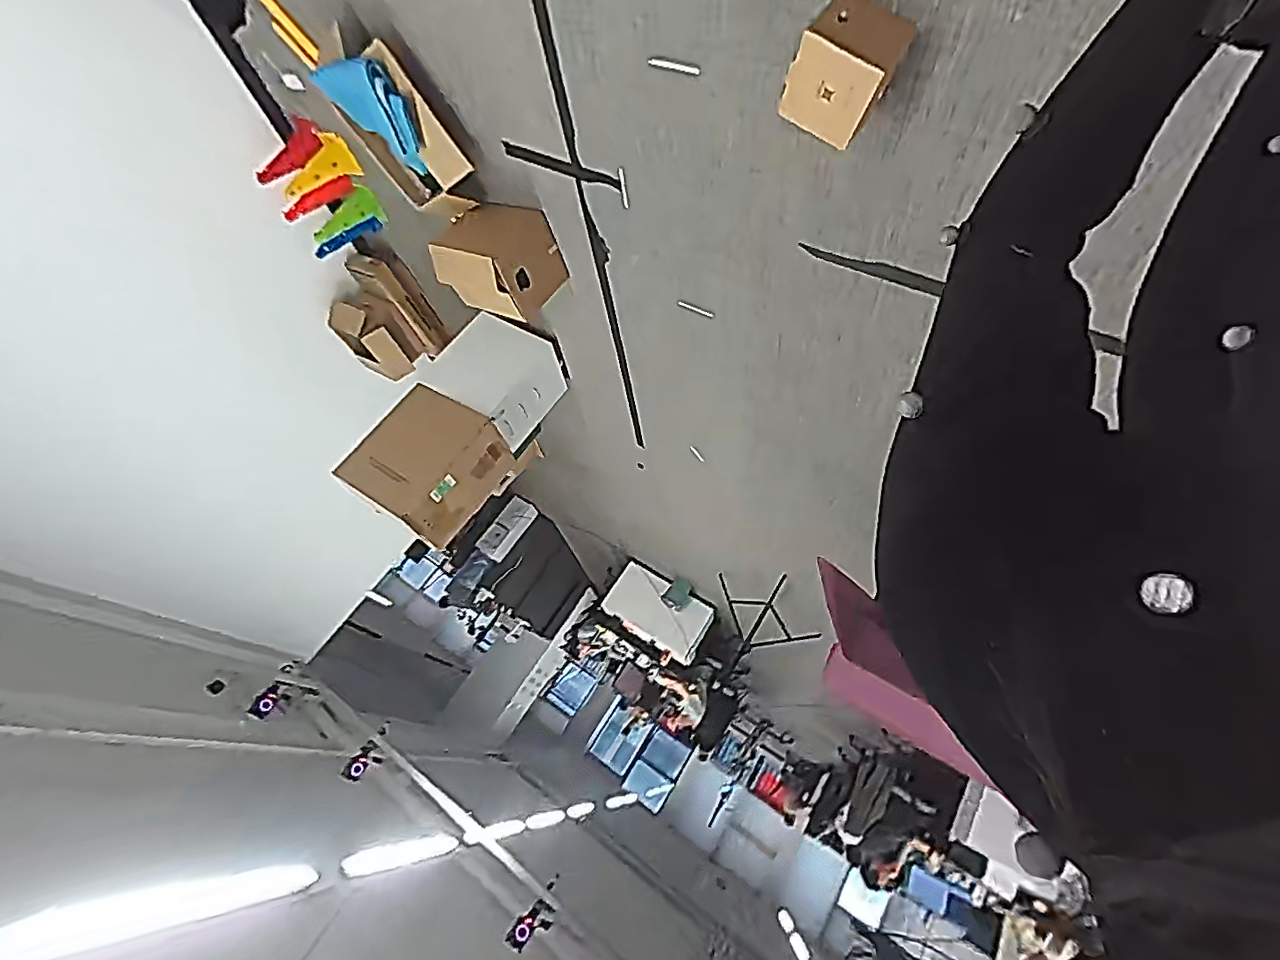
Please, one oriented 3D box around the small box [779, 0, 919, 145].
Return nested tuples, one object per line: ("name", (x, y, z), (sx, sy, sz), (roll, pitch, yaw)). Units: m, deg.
("small box", (0.420, -0.838, 1.096), (0.179, 0.176, 0.168), (33, 161, 6))
